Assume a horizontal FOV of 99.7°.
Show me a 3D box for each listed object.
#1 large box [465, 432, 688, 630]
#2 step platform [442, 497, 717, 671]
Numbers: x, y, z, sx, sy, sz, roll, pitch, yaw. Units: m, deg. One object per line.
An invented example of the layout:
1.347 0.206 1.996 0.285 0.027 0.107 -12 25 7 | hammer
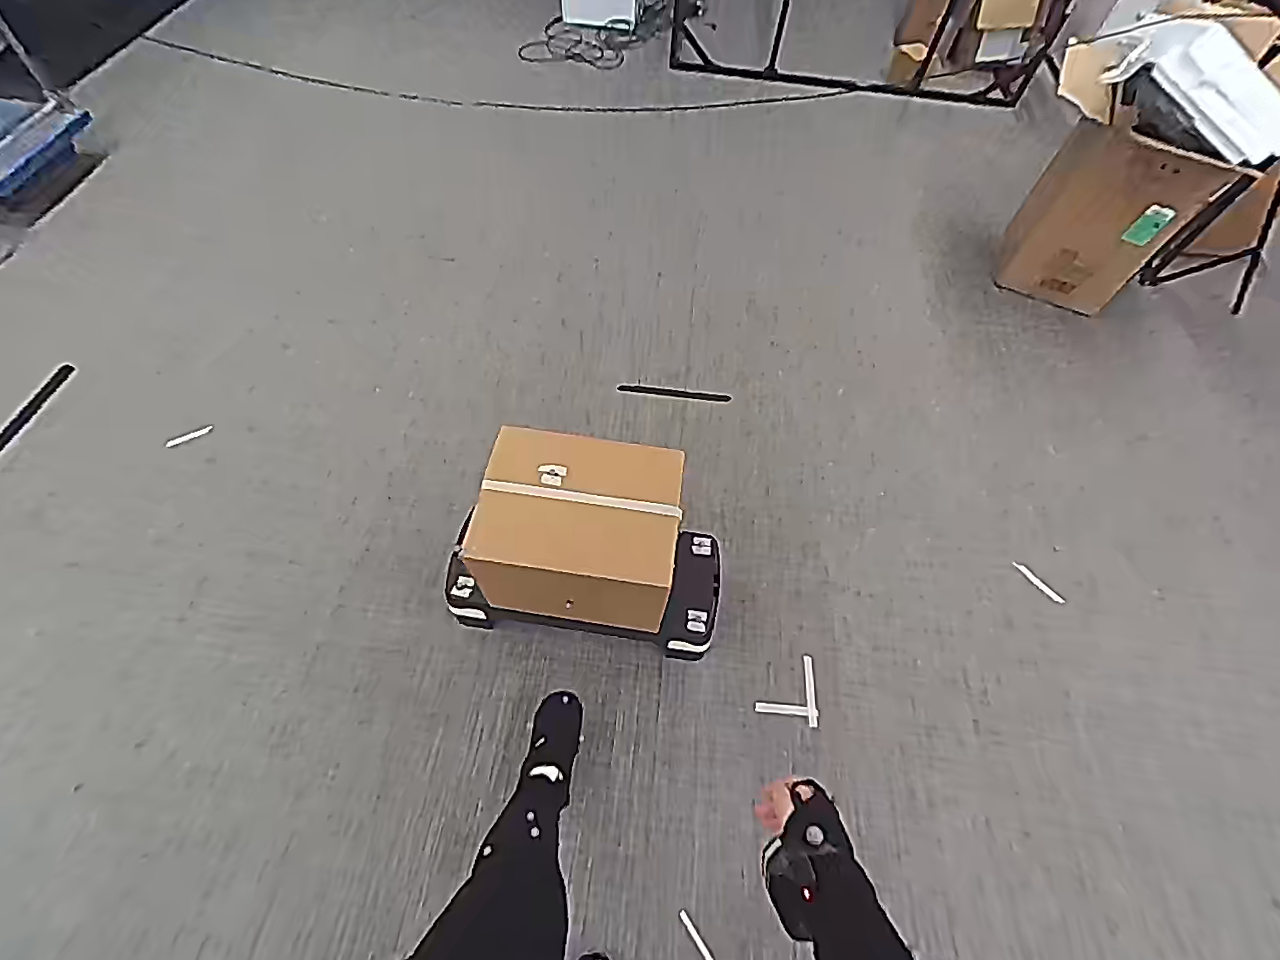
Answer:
-0.115 0.124 1.203 0.408 0.320 0.320 8 58 3 | large box
-0.146 0.260 1.398 0.684 0.204 0.286 12 59 5 | step platform
